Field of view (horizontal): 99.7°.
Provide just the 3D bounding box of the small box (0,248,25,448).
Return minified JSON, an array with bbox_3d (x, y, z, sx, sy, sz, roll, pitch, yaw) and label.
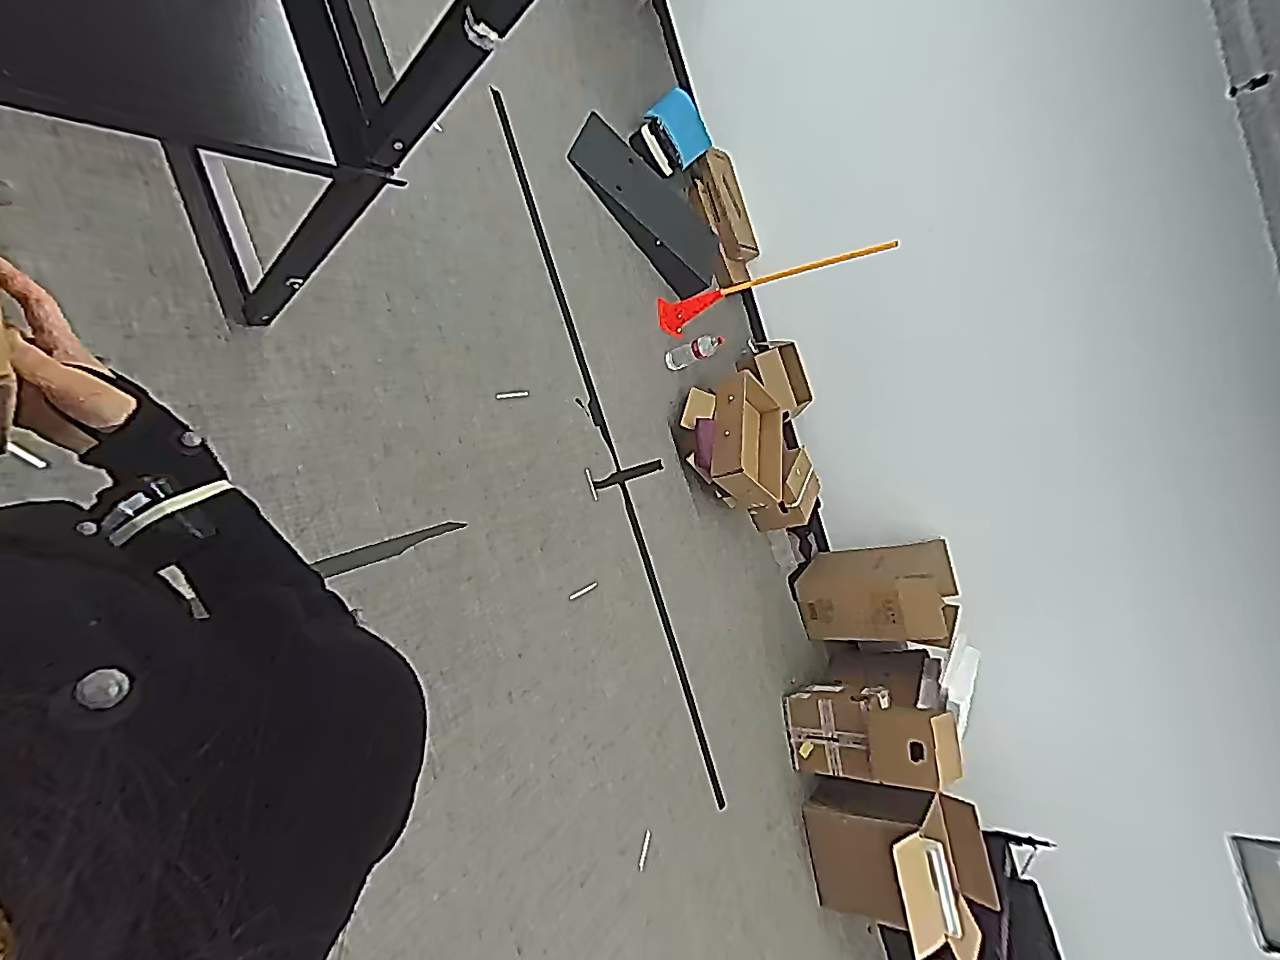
[{"bbox_3d":[-0.453,-0.108,0.272,0.168,0.176,0.179,-11,88,-52],"label":"small box"}]
